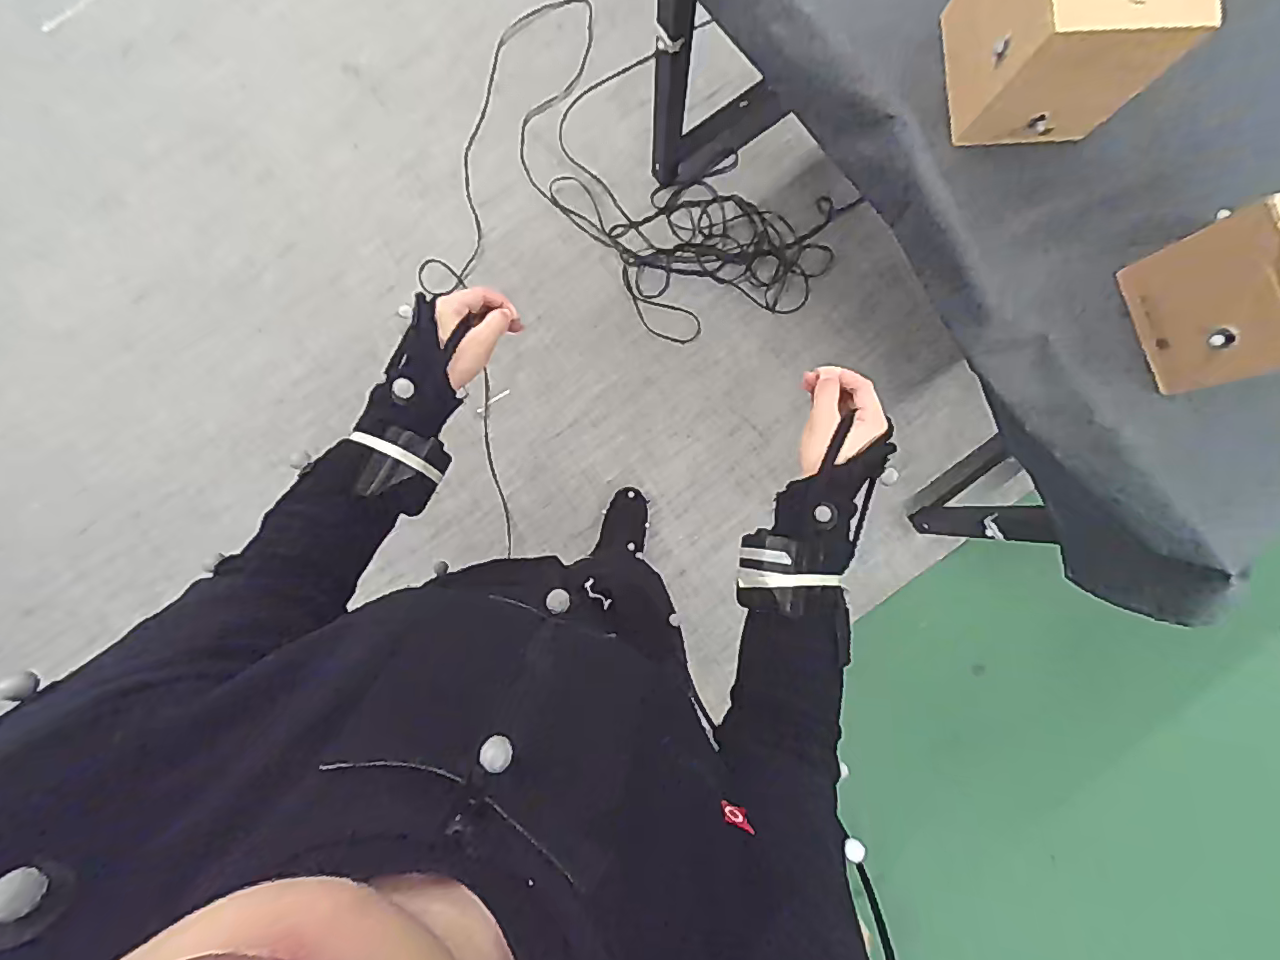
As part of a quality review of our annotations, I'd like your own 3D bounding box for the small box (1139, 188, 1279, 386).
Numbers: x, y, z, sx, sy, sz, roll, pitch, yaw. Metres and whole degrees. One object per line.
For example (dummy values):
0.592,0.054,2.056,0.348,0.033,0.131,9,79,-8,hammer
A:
0.697,-0.214,0.580,0.179,0.176,0.168,-18,88,-2,small box
